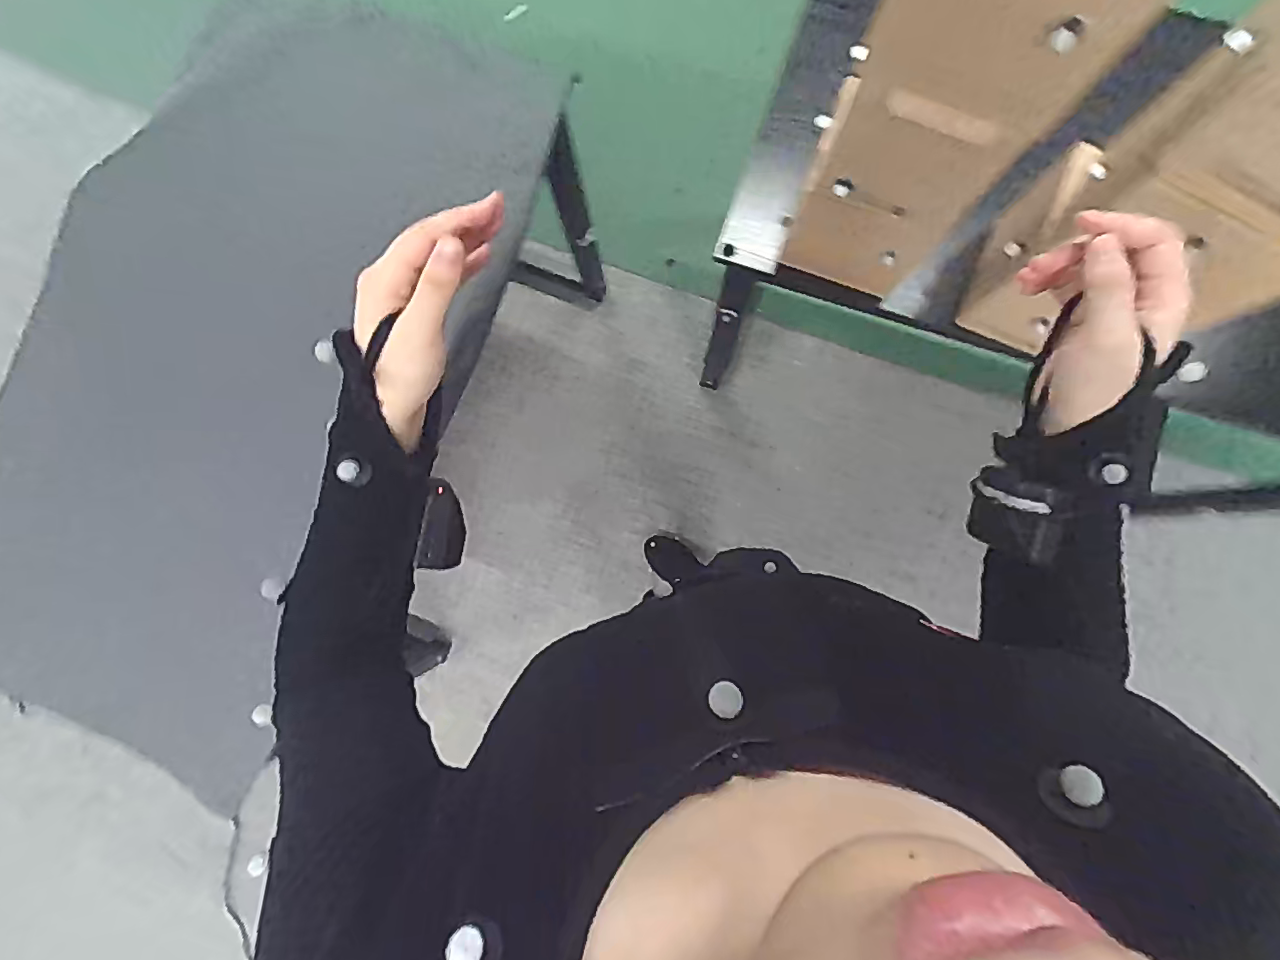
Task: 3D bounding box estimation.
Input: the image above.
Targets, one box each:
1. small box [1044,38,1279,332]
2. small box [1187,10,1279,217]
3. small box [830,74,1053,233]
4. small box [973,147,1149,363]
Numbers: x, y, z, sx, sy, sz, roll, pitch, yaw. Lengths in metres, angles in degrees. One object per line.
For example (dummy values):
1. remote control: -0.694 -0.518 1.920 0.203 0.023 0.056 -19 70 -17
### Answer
1. small box: 0.572 -0.272 0.542 0.179 0.176 0.168 33 87 5
2. small box: 0.564 -0.303 0.381 0.168 0.176 0.179 35 88 7
3. small box: 0.321 -0.399 0.568 0.168 0.176 0.179 23 84 4
4. small box: 0.577 -0.276 0.706 0.168 0.176 0.179 25 86 5
